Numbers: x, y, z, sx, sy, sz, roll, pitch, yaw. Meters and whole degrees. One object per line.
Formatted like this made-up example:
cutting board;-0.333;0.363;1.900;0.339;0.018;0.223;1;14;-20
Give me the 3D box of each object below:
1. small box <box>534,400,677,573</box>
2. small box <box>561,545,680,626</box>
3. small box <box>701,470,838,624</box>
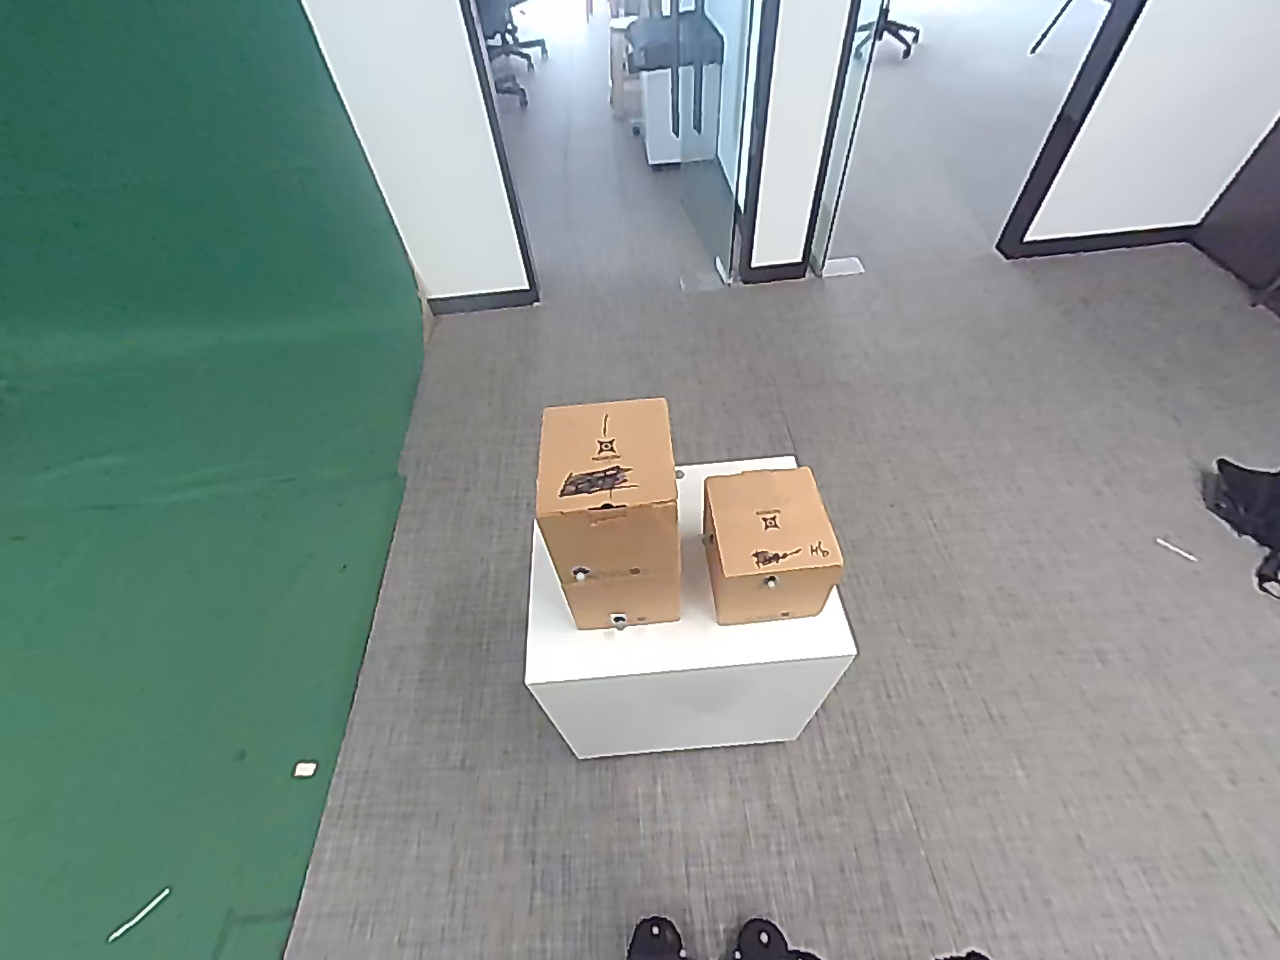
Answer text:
small box;-0.039;0.017;0.735;0.168;0.176;0.179;-4;50;2
small box;-0.030;0.109;0.850;0.168;0.176;0.179;-7;53;-1
small box;0.190;0.107;0.853;0.168;0.176;0.179;-5;51;0
